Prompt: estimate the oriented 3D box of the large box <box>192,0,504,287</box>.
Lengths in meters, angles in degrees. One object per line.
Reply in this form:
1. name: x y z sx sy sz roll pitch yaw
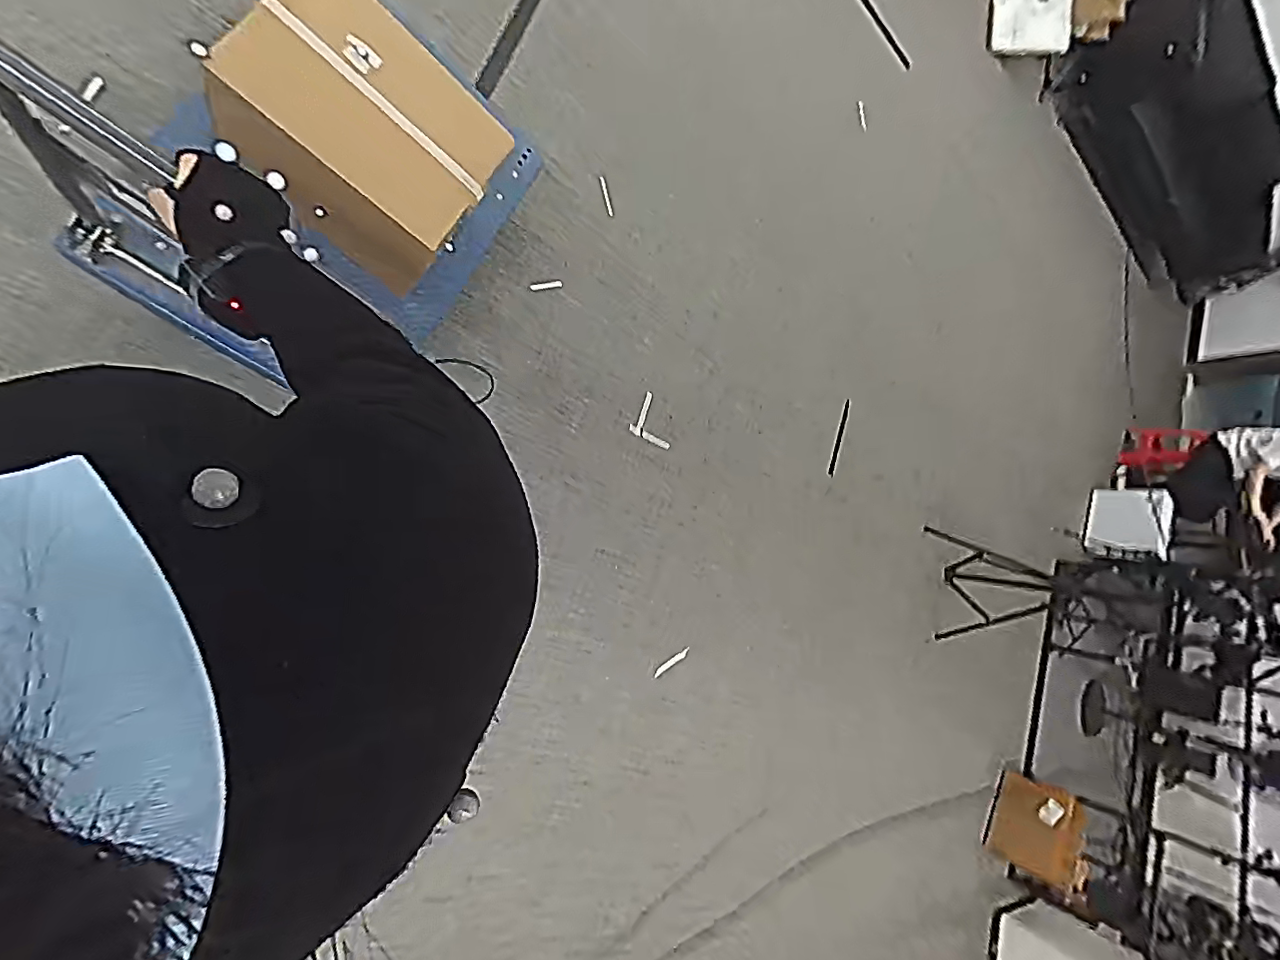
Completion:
1. large box: -0.558 -0.671 1.084 0.408 0.320 0.320 35 70 -27
